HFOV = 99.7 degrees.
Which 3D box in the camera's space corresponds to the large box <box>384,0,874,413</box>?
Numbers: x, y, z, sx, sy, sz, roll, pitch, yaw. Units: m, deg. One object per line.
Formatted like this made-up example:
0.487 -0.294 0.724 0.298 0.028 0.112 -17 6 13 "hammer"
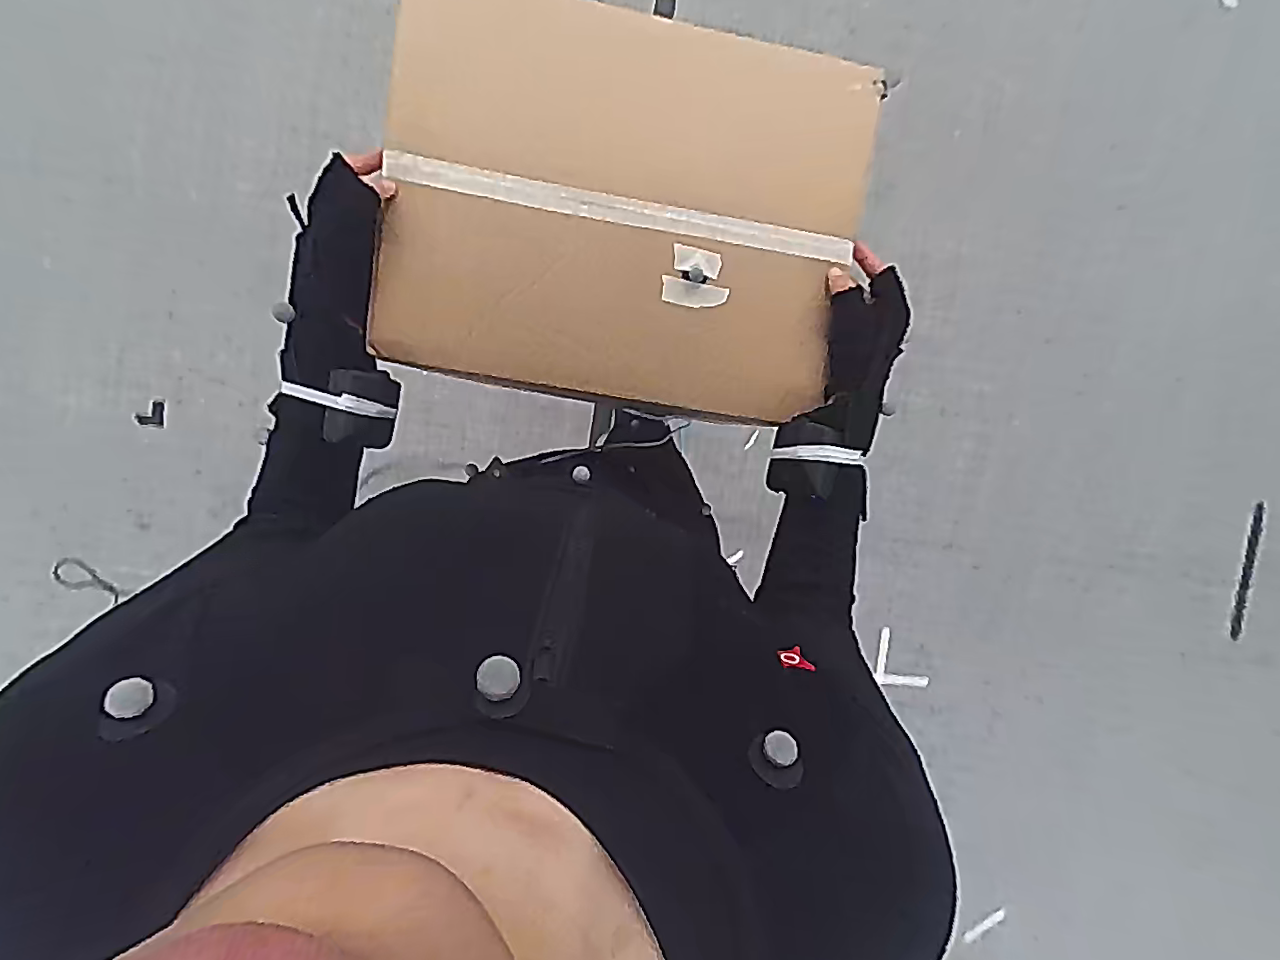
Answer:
-0.023 -0.257 0.620 0.408 0.320 0.320 8 97 -7 "large box"
